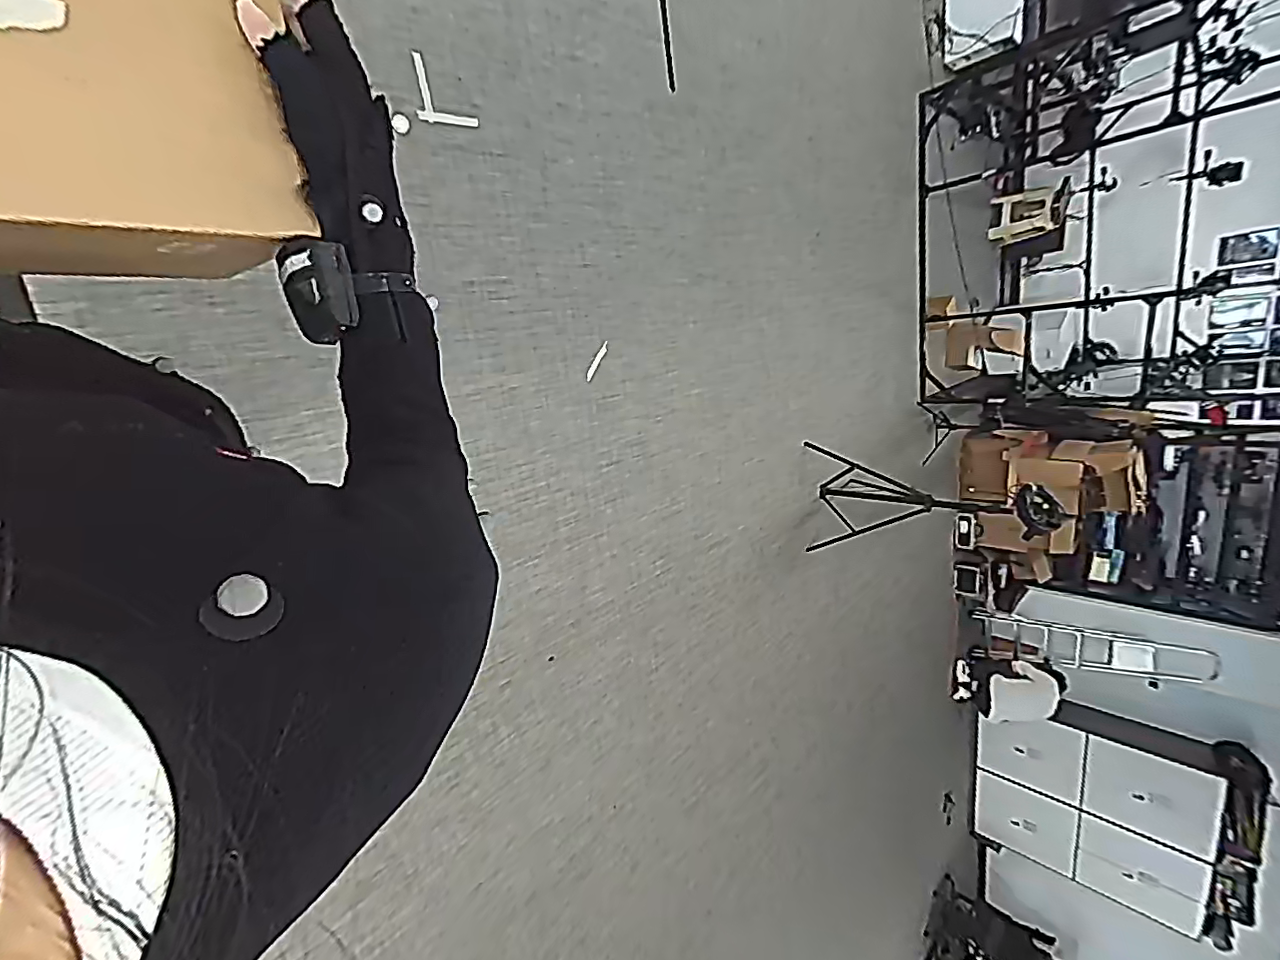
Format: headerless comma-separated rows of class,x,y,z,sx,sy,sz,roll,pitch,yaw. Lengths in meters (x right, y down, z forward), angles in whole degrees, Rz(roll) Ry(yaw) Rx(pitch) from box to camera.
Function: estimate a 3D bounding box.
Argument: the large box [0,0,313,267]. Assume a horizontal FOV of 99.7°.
large box,-0.492,-0.305,0.316,0.408,0.320,0.320,-20,115,-44
